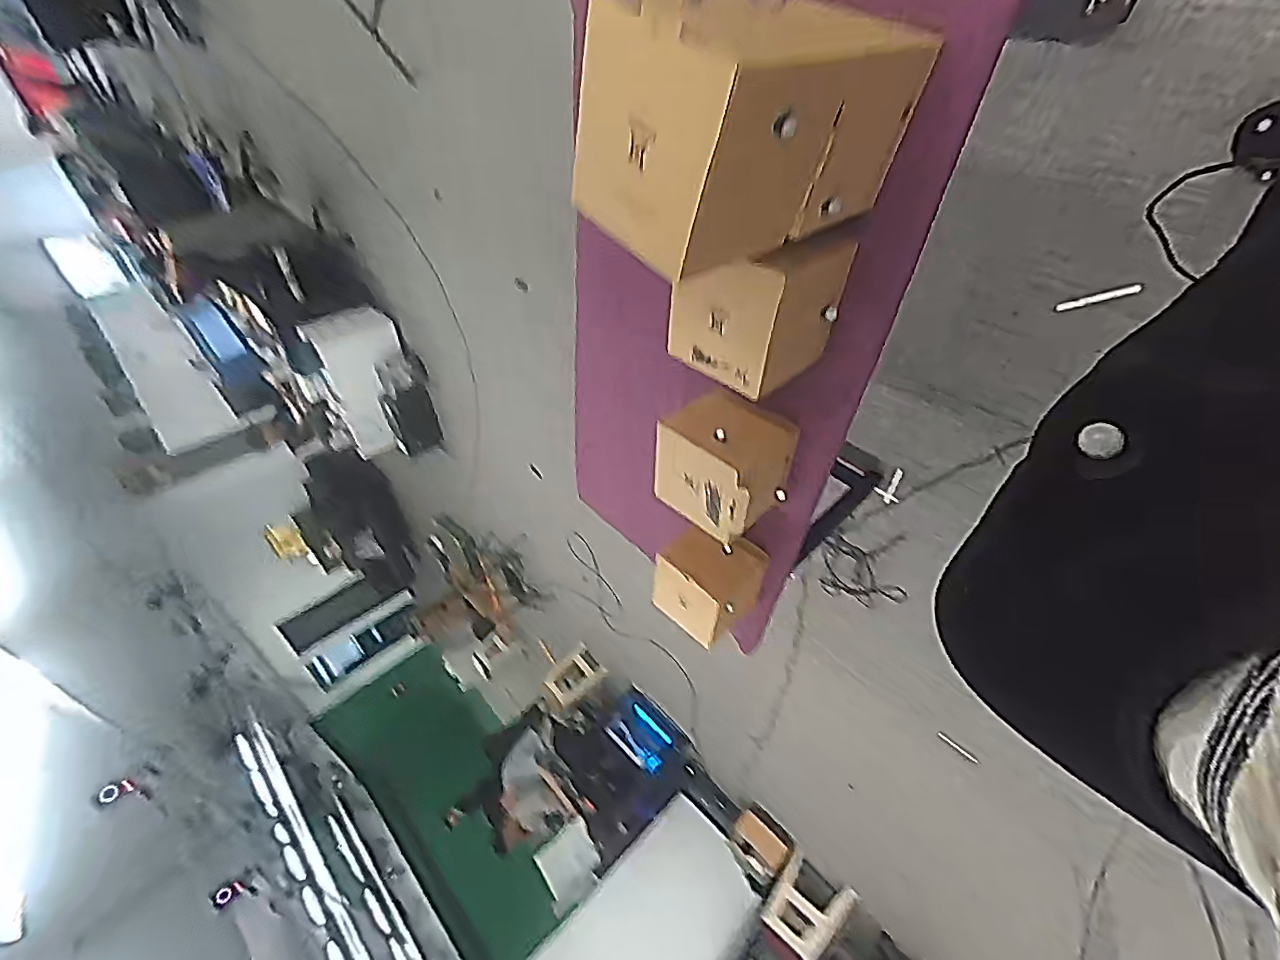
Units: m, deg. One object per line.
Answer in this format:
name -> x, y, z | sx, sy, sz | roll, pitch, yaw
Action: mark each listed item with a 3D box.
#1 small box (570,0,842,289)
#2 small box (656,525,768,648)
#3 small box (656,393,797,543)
small box -> 0.056, -0.318, 0.503 | 0.168, 0.176, 0.179 | 45, 148, 21
small box -> 0.153, 0.215, 1.159 | 0.168, 0.176, 0.179 | 34, 141, 31
small box -> 0.148, -0.030, 0.945 | 0.179, 0.176, 0.168 | 34, 142, 32
